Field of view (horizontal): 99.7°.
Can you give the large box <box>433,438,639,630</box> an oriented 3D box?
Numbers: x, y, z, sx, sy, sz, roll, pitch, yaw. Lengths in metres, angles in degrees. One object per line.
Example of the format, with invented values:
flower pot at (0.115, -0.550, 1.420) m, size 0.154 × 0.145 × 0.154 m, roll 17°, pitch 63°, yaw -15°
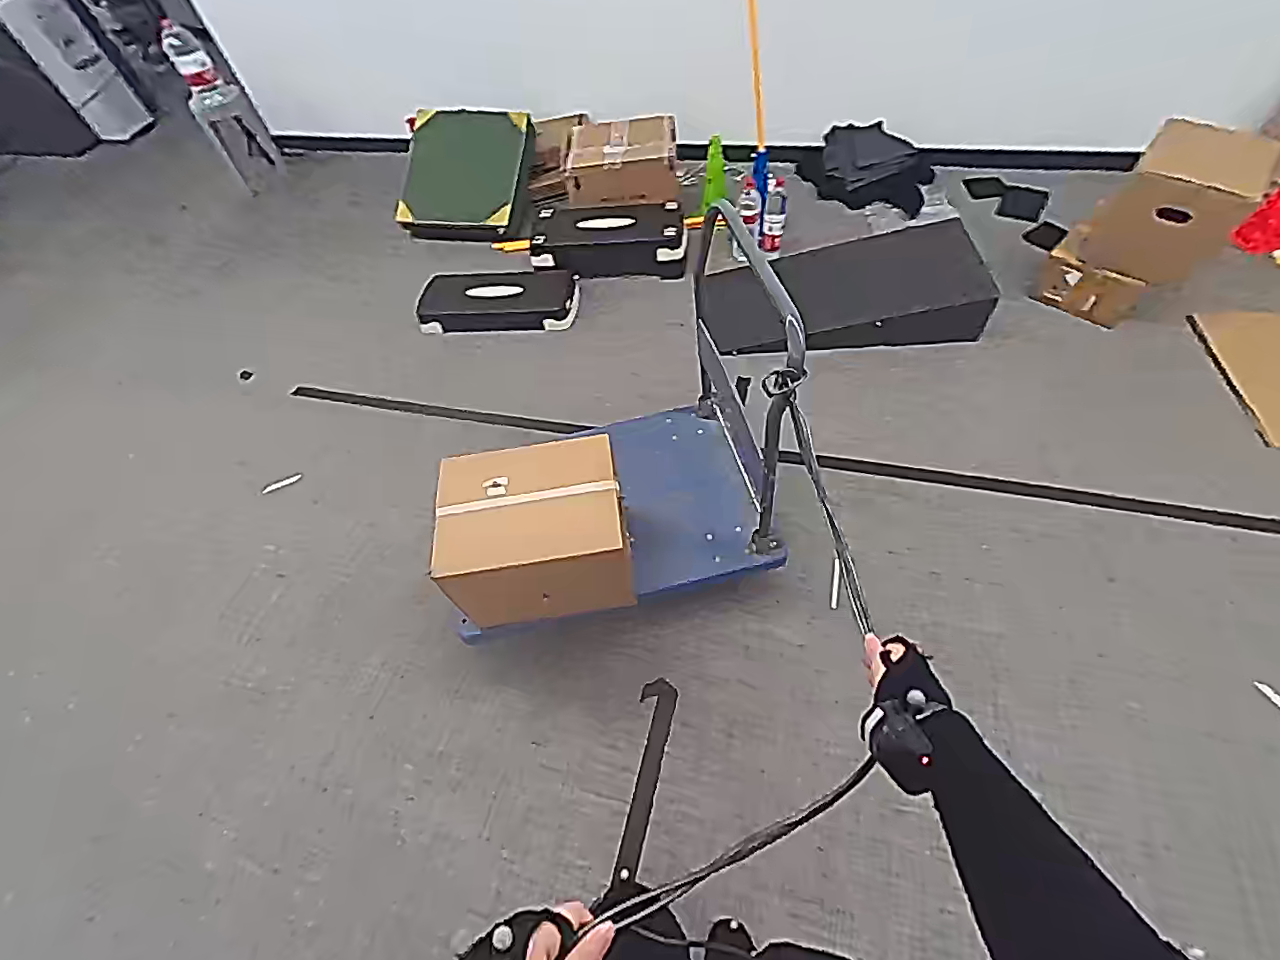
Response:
large box at (-0.232, 0.140, 1.307) m, size 0.408 × 0.320 × 0.320 m, roll -10°, pitch 54°, yaw 0°
